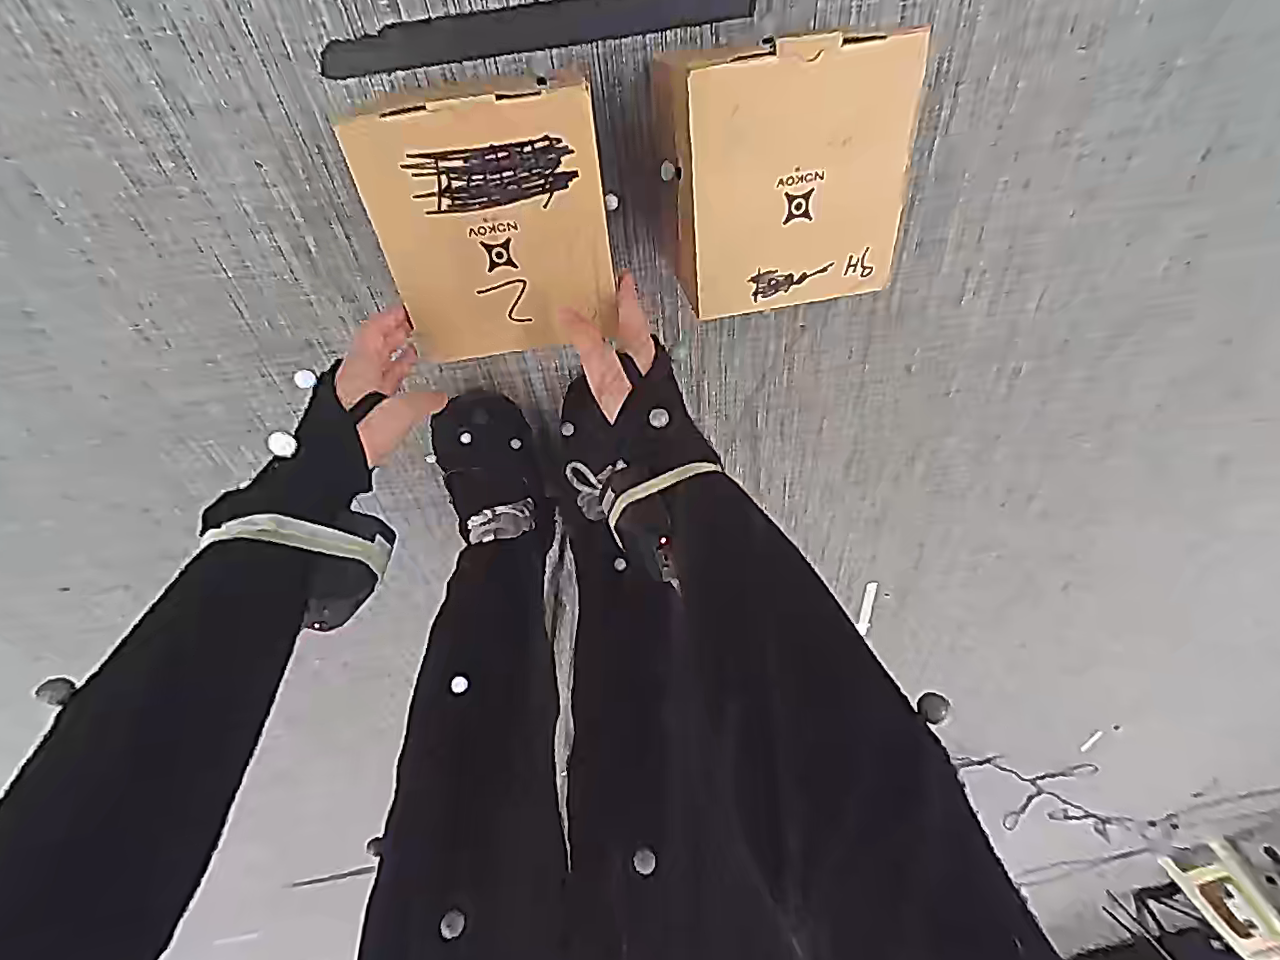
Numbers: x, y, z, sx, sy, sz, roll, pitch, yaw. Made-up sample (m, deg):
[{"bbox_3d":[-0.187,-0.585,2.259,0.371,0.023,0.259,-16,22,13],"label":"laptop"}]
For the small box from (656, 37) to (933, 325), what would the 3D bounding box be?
[{"bbox_3d":[0.112,-0.259,0.468,0.168,0.176,0.179,-10,129,-2],"label":"small box"}]
